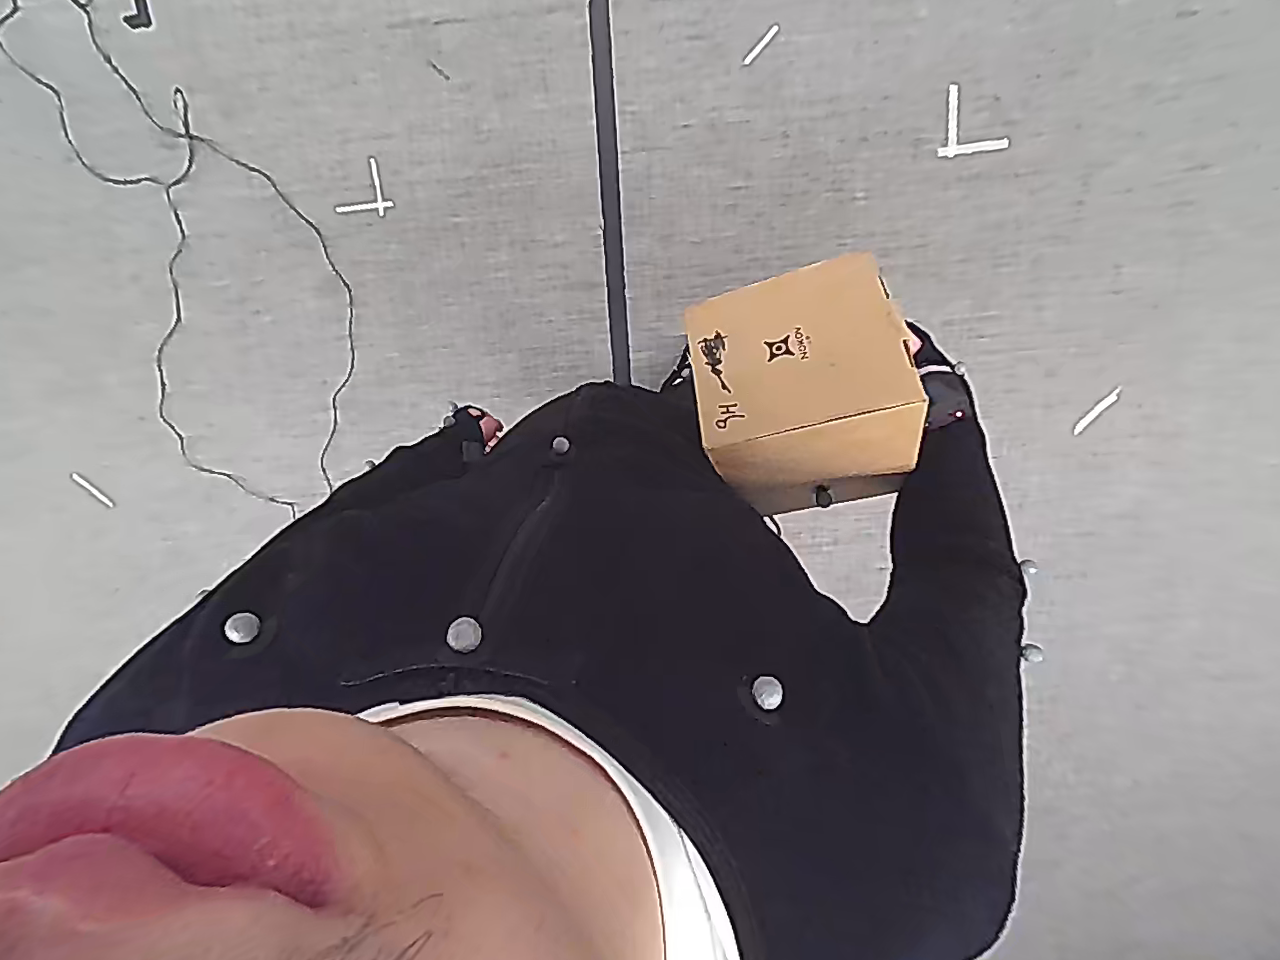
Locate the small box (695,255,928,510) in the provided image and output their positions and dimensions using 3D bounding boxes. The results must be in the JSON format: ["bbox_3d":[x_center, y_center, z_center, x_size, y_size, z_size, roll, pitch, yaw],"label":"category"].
[{"bbox_3d":[0.166,-0.085,0.548,0.179,0.176,0.168,-12,61,16],"label":"small box"}]
